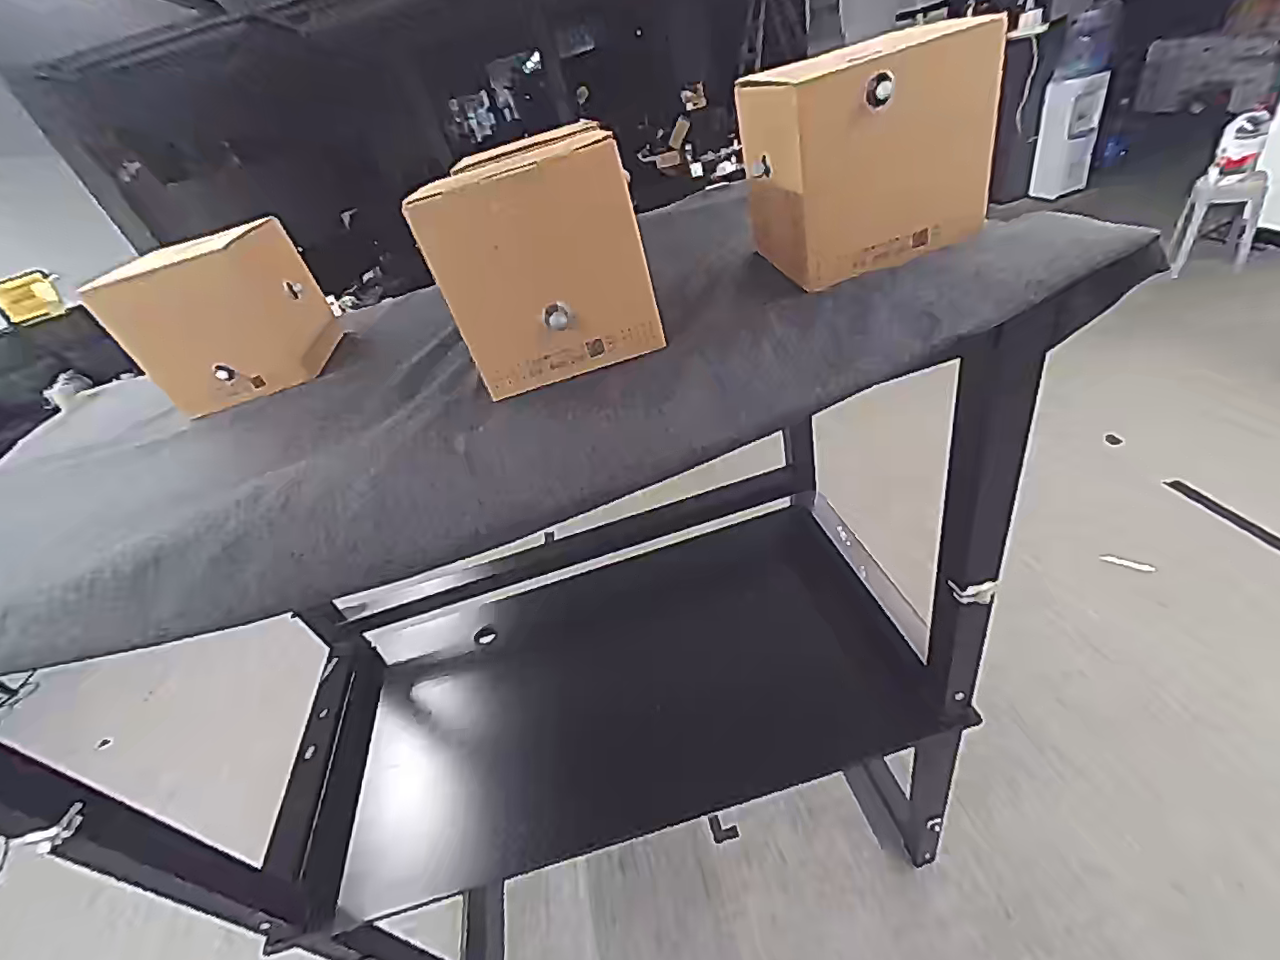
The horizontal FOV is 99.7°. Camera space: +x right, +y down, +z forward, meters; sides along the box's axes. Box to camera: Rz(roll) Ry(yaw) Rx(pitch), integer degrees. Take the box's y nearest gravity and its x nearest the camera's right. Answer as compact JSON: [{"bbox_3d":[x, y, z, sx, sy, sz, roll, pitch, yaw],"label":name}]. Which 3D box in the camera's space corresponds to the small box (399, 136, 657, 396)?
[{"bbox_3d":[-0.091,-0.202,0.508,0.168,0.176,0.179,-18,35,2],"label":"small box"}]

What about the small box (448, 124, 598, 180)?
[{"bbox_3d":[-0.125,-0.345,0.711,0.179,0.176,0.168,-17,36,1],"label":"small box"}]

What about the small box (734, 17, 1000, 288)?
[{"bbox_3d":[0.200,-0.303,0.519,0.168,0.176,0.179,-17,35,3],"label":"small box"}]
